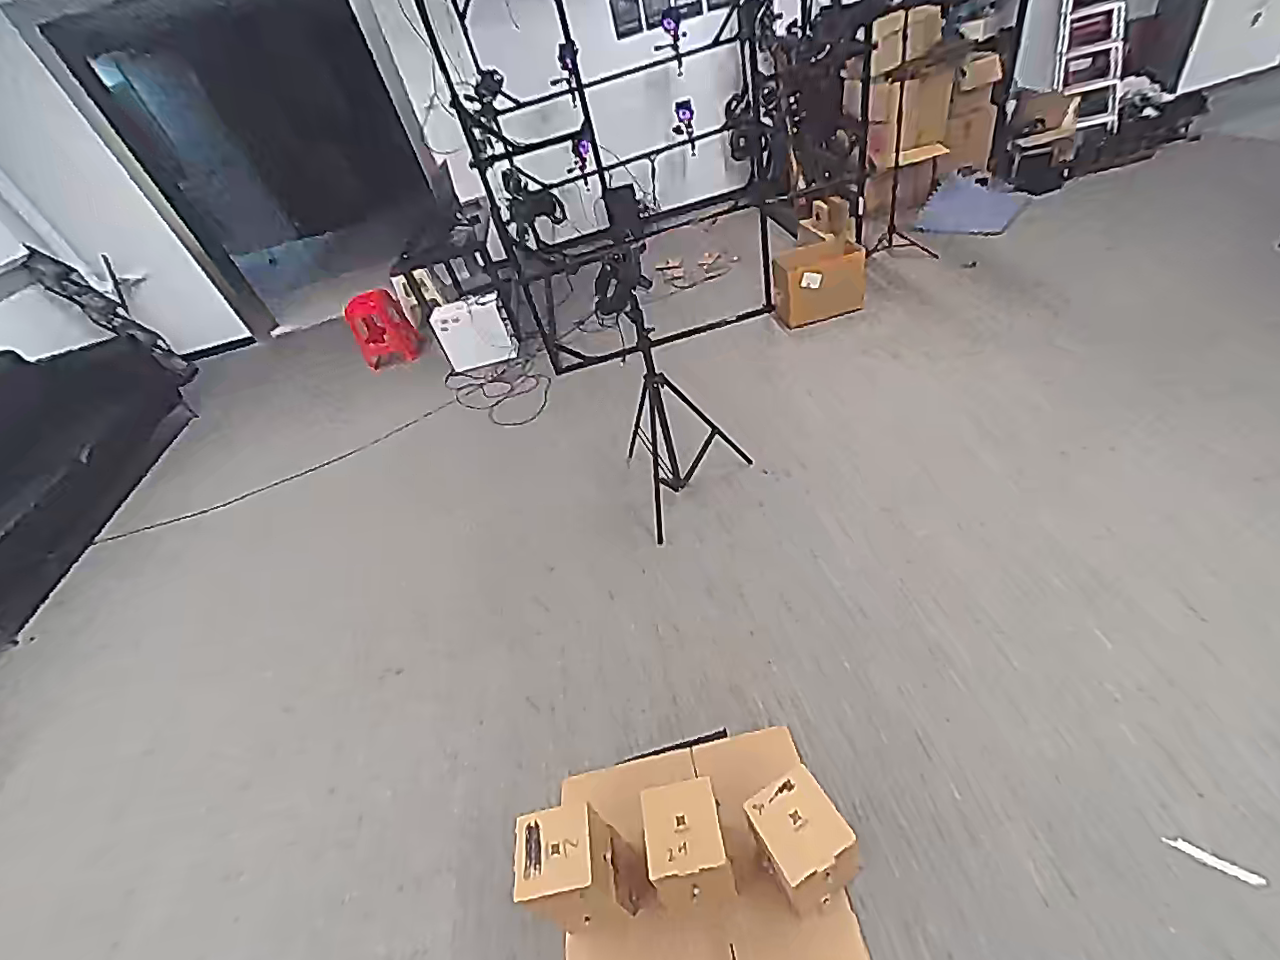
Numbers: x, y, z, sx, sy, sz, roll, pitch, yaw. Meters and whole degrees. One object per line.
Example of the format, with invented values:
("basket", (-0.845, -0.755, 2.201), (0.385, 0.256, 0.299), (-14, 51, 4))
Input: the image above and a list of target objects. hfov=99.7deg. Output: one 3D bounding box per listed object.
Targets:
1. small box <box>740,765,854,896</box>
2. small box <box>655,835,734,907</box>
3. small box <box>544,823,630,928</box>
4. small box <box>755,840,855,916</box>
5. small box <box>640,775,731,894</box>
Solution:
("small box", (0.344, 0.773, 1.187), (0.168, 0.176, 0.179), (-27, 43, -11))
("small box", (0.129, 0.929, 1.336), (0.179, 0.176, 0.168), (-14, 41, 3))
("small box", (-0.130, 0.990, 1.351), (0.179, 0.176, 0.168), (-16, 41, 3))
("small box", (0.387, 0.890, 1.293), (0.168, 0.176, 0.179), (-29, 42, -12))
("small box", (0.103, 0.806, 1.228), (0.168, 0.176, 0.179), (-13, 42, 3))
